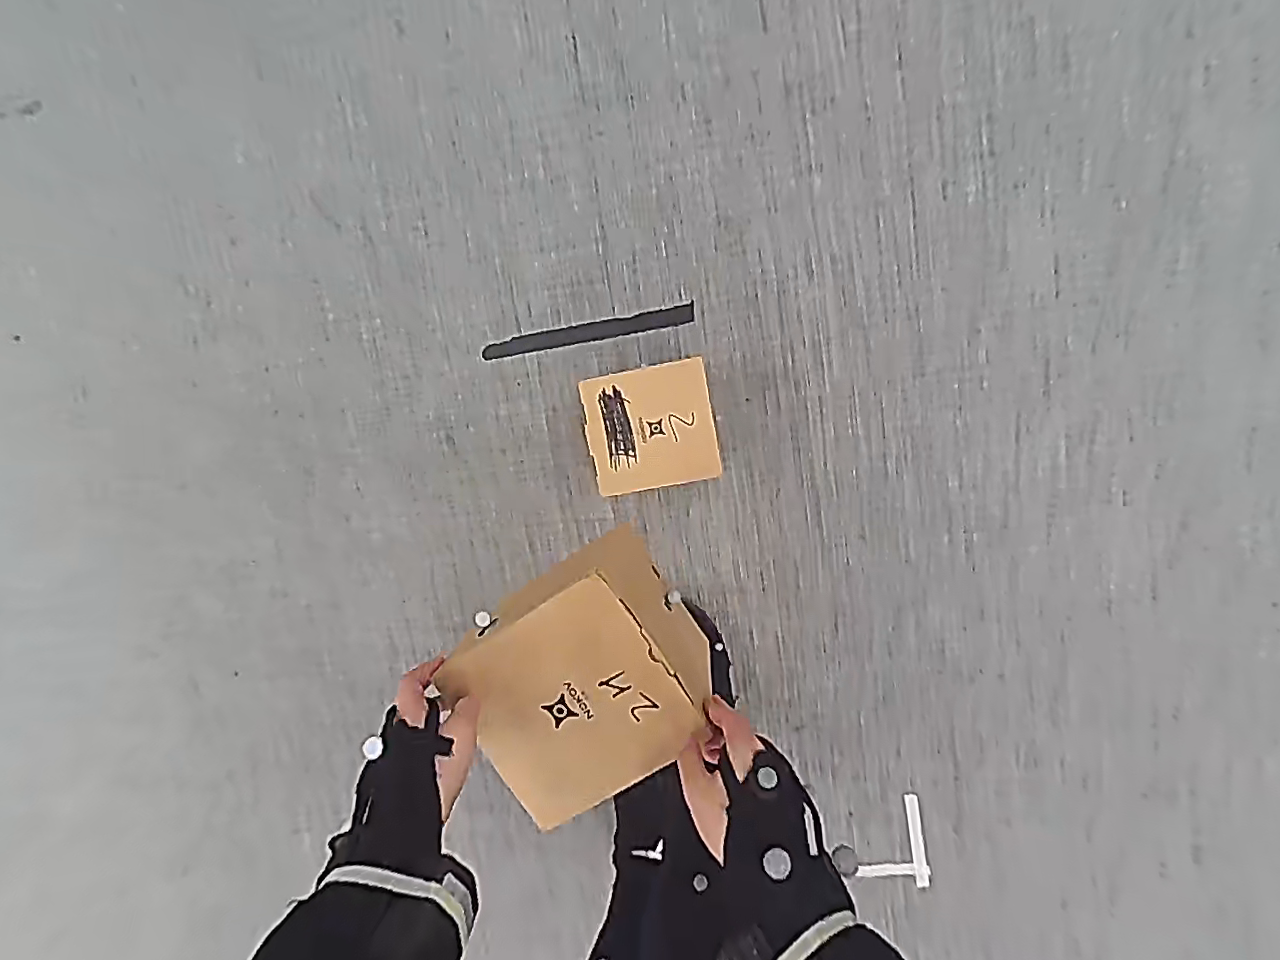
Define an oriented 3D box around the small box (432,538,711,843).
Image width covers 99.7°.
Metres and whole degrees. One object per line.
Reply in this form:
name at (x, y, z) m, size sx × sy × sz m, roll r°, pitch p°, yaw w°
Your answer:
small box at (-0.049, 0.180, 0.511) m, size 0.179 × 0.176 × 0.168 m, roll -34°, pitch 94°, yaw 9°
